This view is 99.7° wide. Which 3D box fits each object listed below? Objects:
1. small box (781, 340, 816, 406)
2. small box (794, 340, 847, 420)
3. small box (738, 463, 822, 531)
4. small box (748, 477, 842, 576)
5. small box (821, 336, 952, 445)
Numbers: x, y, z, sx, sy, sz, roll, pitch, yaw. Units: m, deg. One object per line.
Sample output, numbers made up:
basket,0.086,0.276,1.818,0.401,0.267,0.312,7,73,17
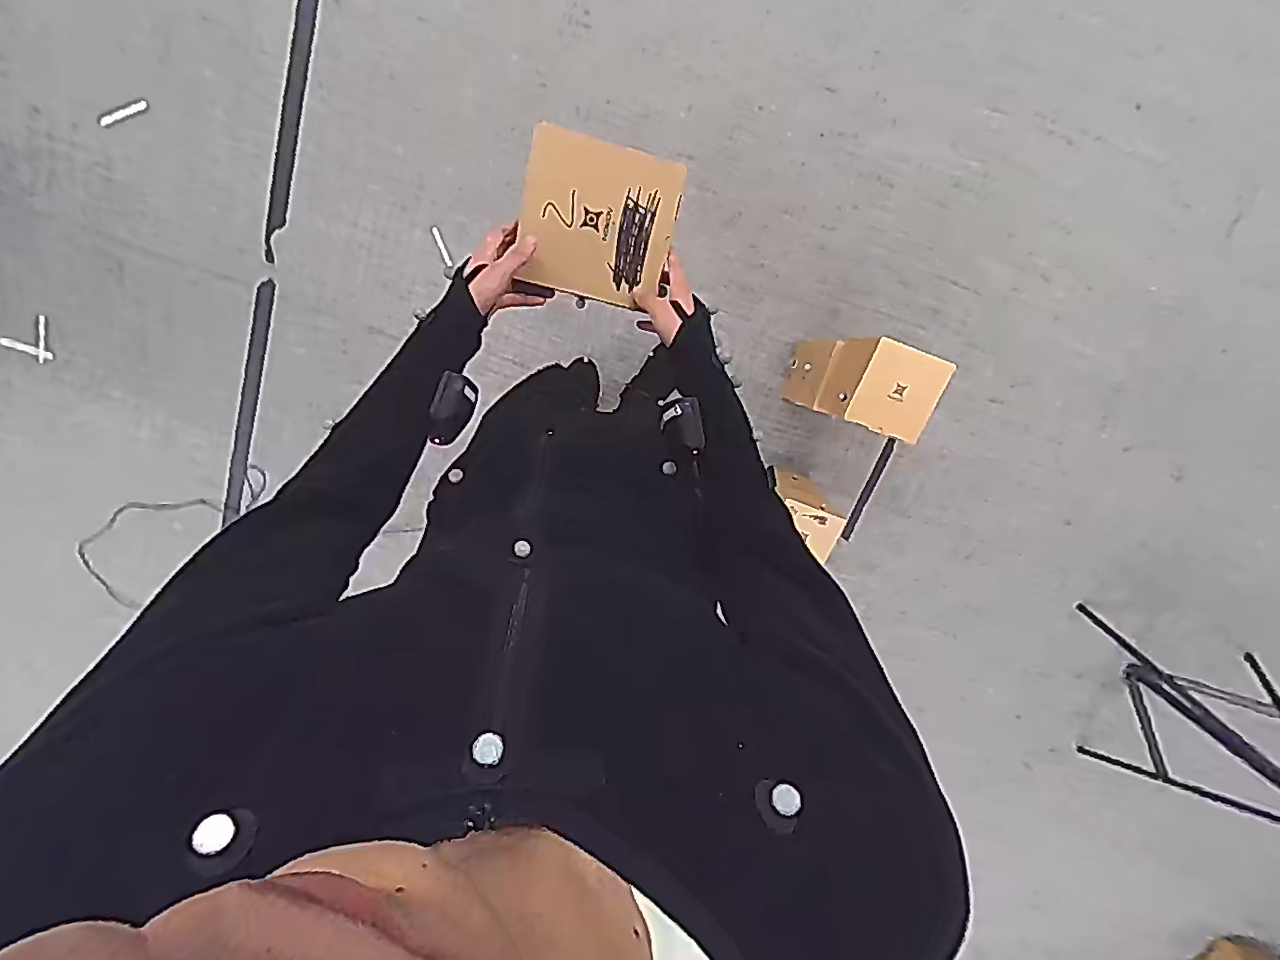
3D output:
small box,0.507,-0.280,1.473,0.179,0.176,0.168,14,107,-3
small box,0.501,-0.240,1.314,0.179,0.176,0.168,15,106,-3
small box,0.401,0.068,1.585,0.168,0.176,0.179,21,108,-5
small box,0.398,0.118,1.429,0.168,0.176,0.179,21,108,-6
small box,0.512,-0.199,1.156,0.168,0.176,0.179,20,106,-5
